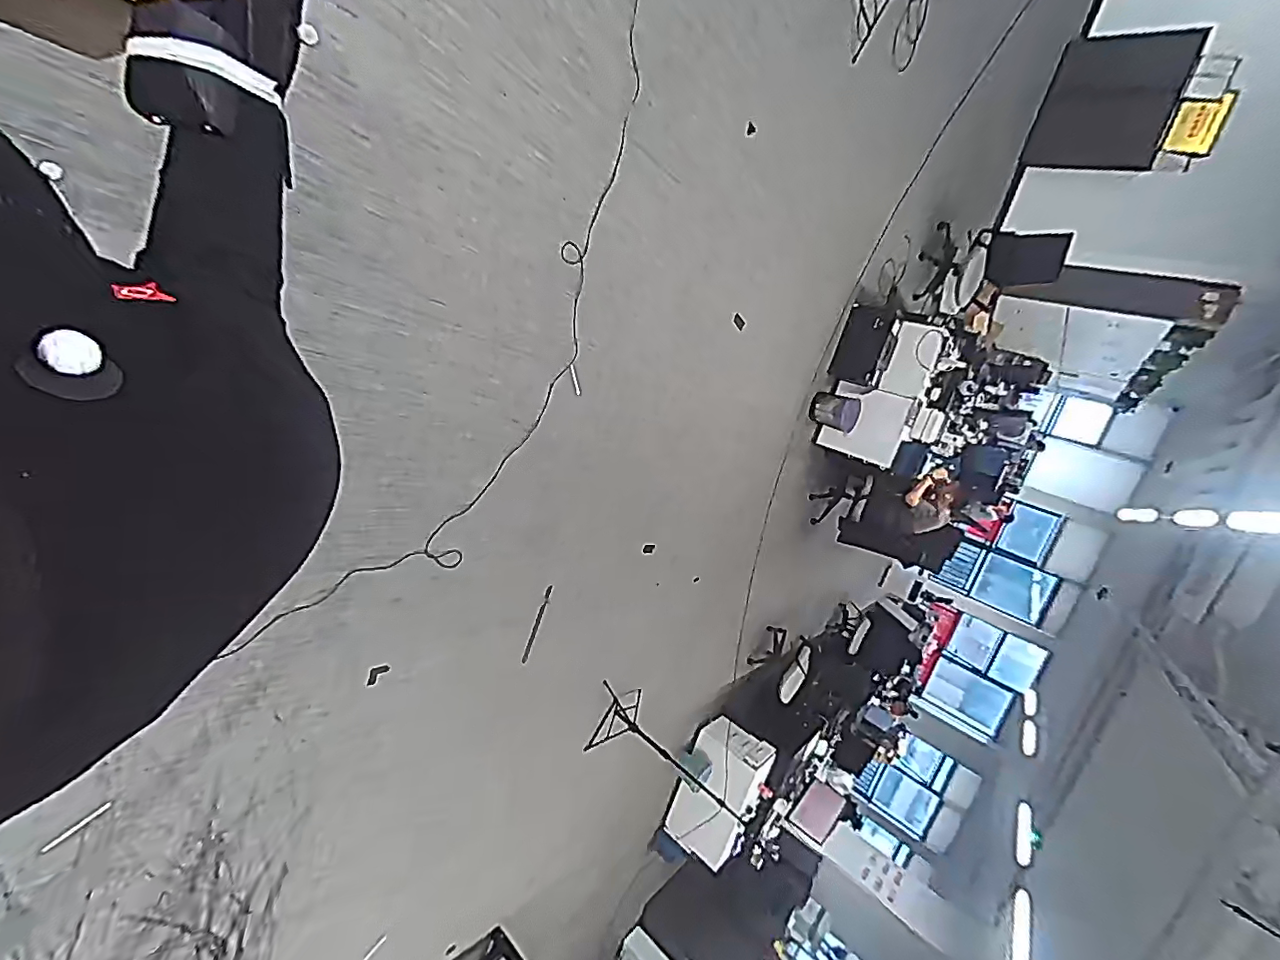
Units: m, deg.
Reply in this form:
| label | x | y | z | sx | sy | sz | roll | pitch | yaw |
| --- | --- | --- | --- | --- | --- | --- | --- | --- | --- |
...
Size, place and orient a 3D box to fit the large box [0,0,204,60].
| label | x | y | z | sx | sy | sz | roll | pitch | yaw |
| --- | --- | --- | --- | --- | --- | --- | --- | --- | --- |
| large box | -0.493 | -0.475 | 0.245 | 0.408 | 0.320 | 0.320 | -6 | 117 | -54 |
